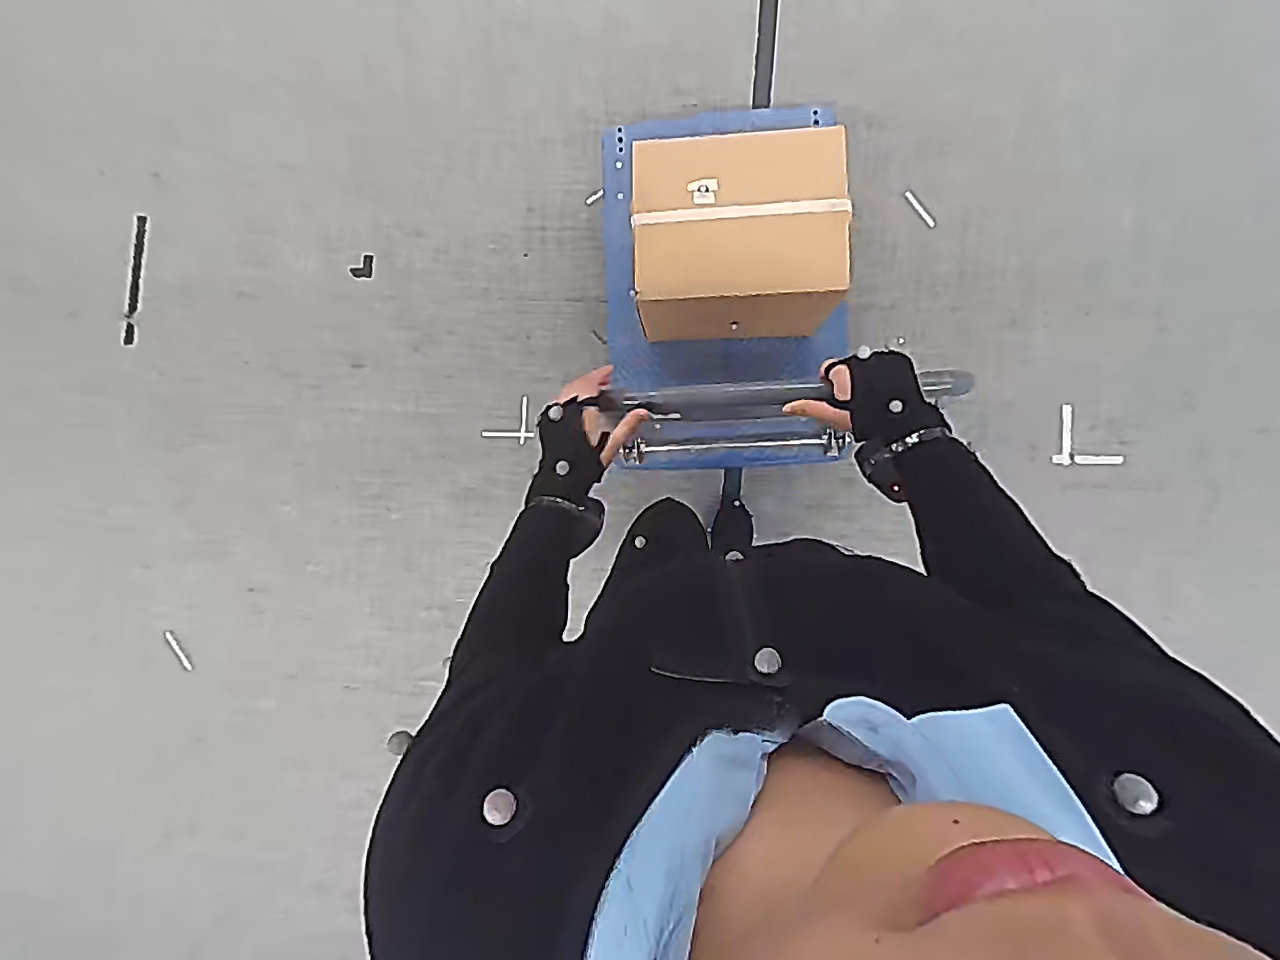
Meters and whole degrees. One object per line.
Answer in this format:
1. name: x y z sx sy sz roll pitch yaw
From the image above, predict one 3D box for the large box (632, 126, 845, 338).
1. large box: 0.205 -0.515 1.197 0.408 0.320 0.320 -2 88 6
